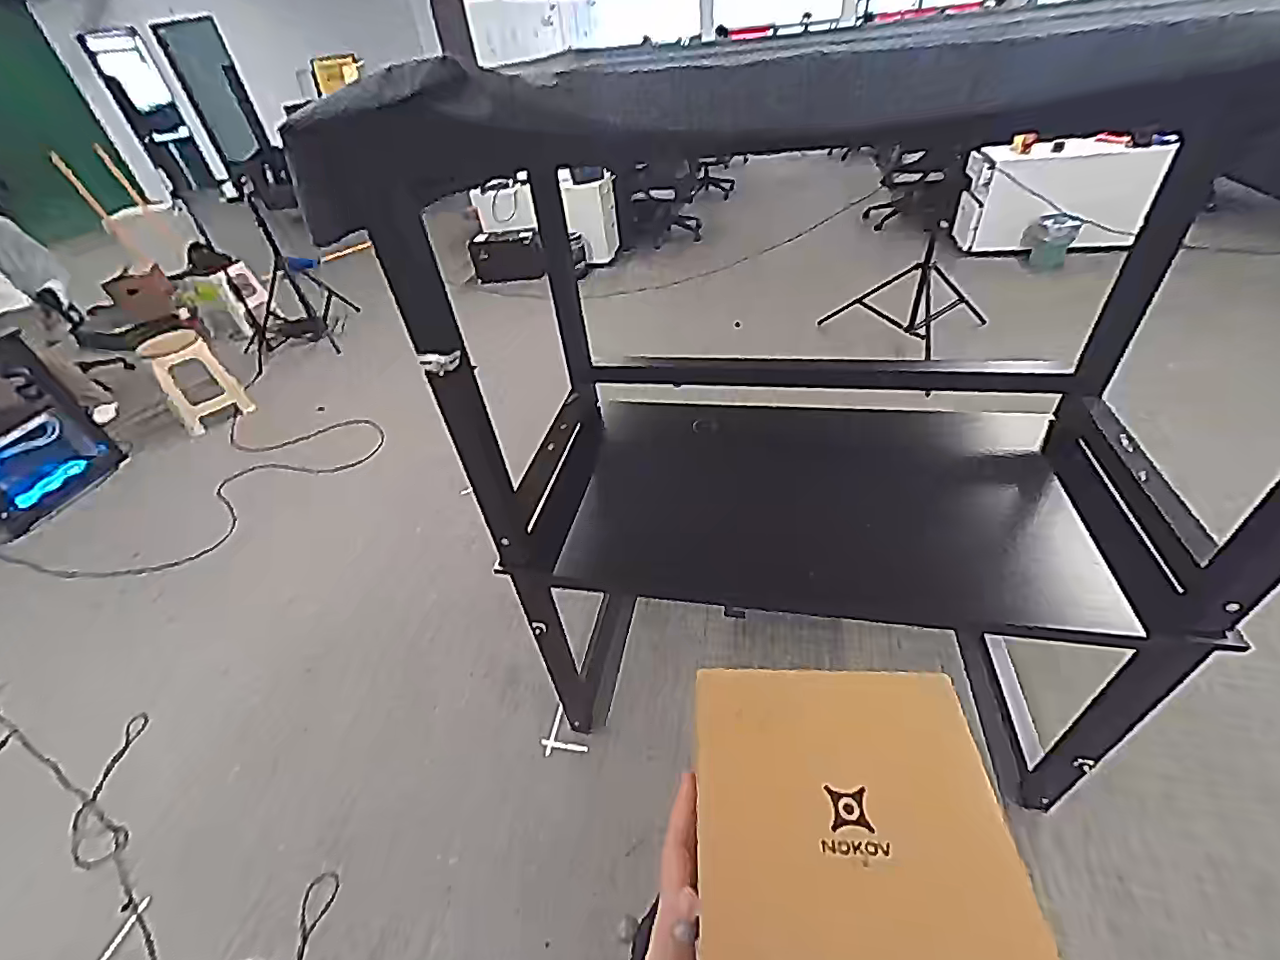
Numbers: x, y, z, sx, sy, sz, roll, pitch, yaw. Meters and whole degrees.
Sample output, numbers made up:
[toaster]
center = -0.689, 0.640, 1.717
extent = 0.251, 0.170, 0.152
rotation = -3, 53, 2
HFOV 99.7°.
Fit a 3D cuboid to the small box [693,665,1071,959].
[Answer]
[small box]
center = 0.119, 0.241, 0.343
extent = 0.168, 0.176, 0.179
rotation = -1, 42, 4
